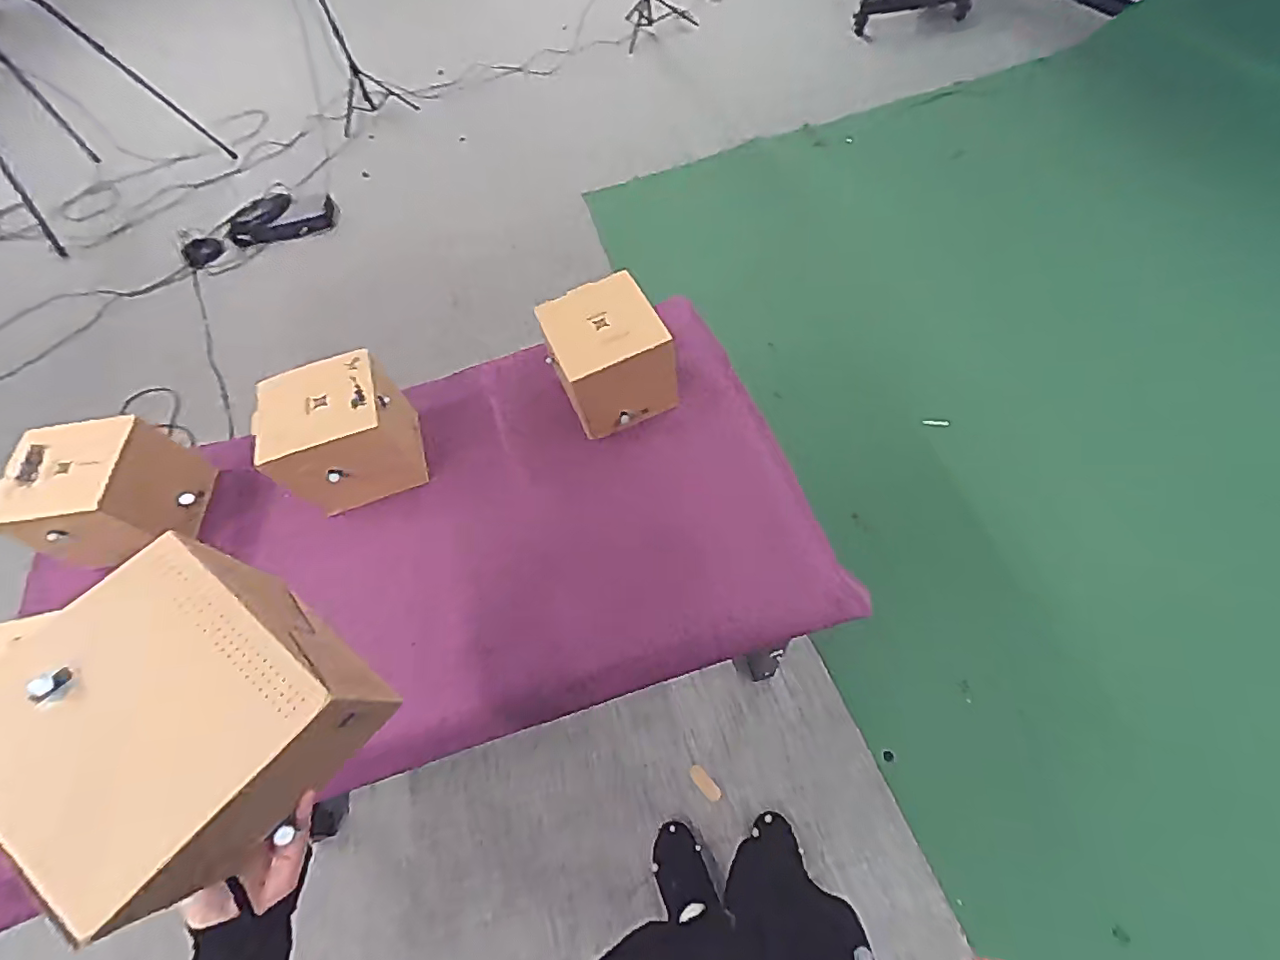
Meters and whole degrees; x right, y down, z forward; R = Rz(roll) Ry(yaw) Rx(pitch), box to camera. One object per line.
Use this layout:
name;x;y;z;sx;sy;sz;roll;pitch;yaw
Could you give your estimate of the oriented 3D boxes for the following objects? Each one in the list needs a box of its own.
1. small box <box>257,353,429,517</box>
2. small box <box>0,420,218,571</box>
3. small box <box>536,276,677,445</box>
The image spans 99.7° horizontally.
small box;-0.464;-0.064;0.858;0.179;0.176;0.168;-20;61;-4
small box;-0.821;0.031;0.841;0.179;0.176;0.168;-8;60;0
small box;-0.050;-0.190;0.885;0.168;0.176;0.179;-24;61;-6
